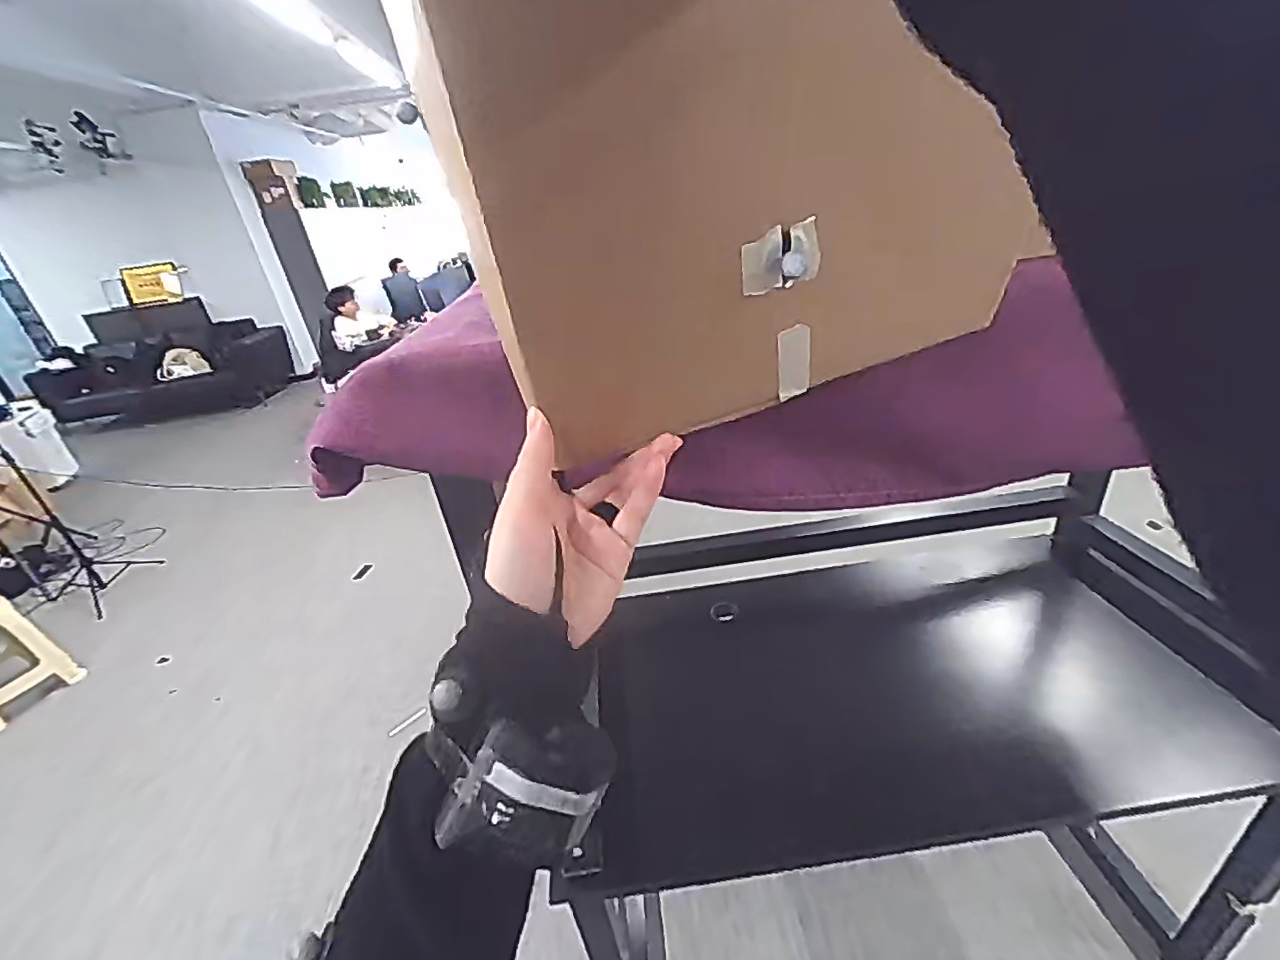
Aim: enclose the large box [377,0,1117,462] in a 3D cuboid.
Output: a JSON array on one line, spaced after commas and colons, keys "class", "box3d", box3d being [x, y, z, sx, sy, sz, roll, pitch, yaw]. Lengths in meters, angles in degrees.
[{"class": "large box", "box3d": [0.009, -0.280, 0.359, 0.320, 0.320, 0.408, -19, 45, -12]}]
